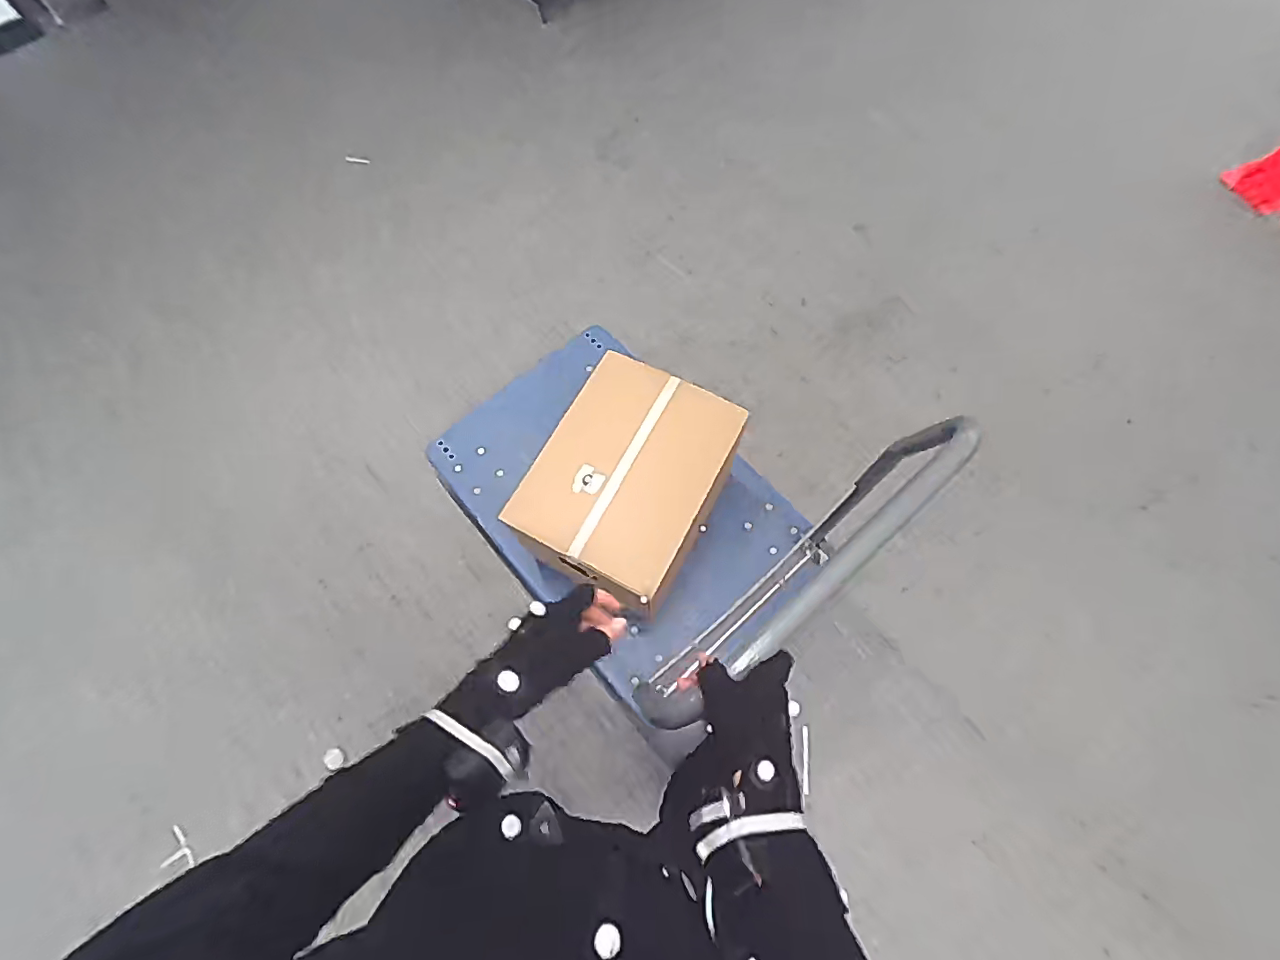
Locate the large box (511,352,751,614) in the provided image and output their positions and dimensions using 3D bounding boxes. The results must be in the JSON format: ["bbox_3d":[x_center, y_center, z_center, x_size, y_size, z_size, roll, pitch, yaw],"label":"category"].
[{"bbox_3d":[-0.006,0.021,1.138,0.320,0.320,0.408,26,73,11],"label":"large box"}]
